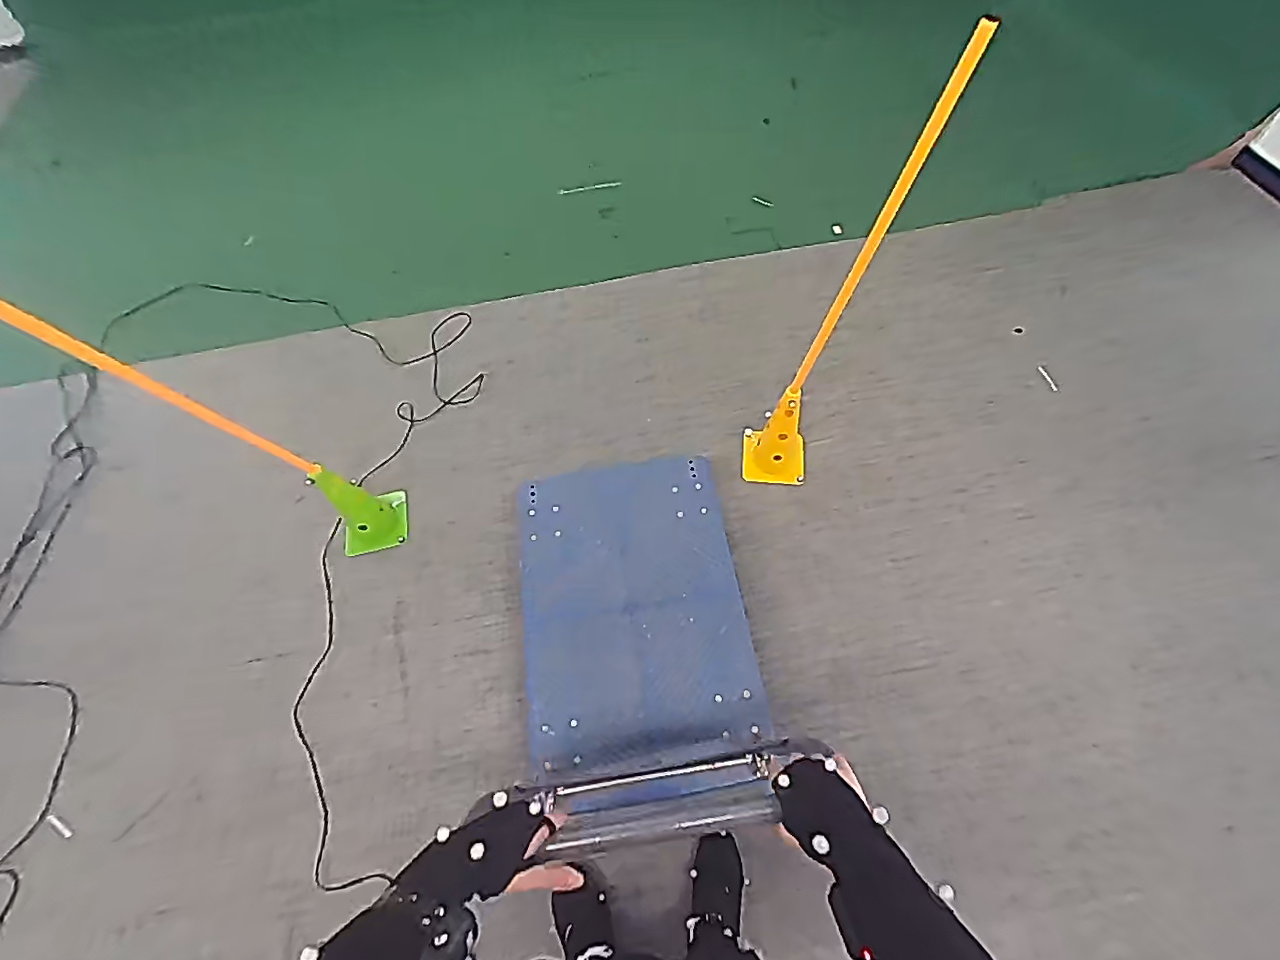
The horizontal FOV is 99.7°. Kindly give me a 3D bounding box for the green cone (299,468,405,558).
[{"bbox_3d":[-0.887,0.064,1.624,0.202,0.368,0.200,-15,61,-3],"label":"green cone"}]
